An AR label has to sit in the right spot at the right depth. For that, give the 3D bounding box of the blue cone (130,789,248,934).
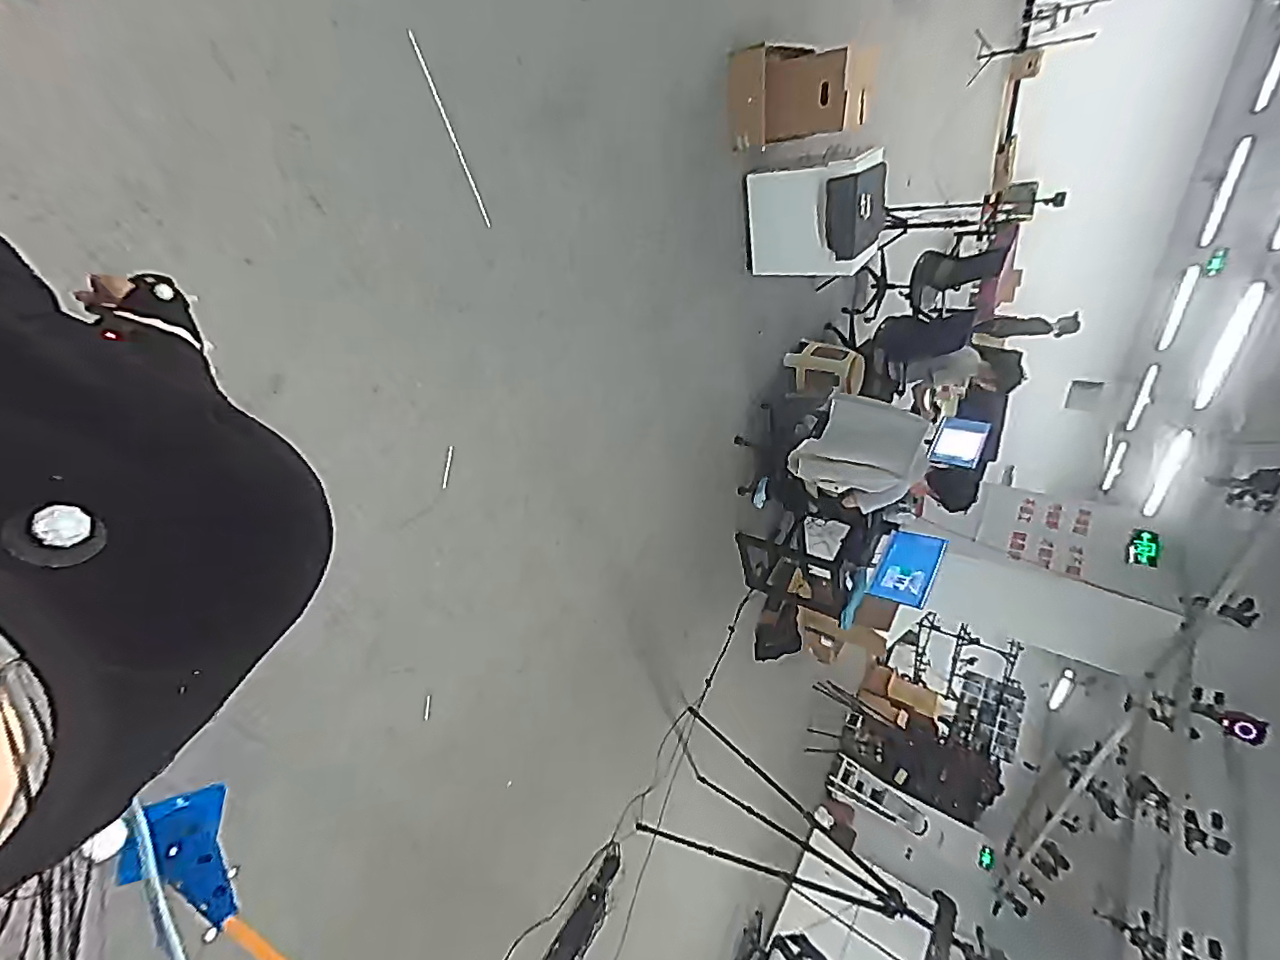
[{"bbox_3d":[-1.032,0.933,1.286,0.193,0.380,0.192,4,98,-57],"label":"blue cone"}]
